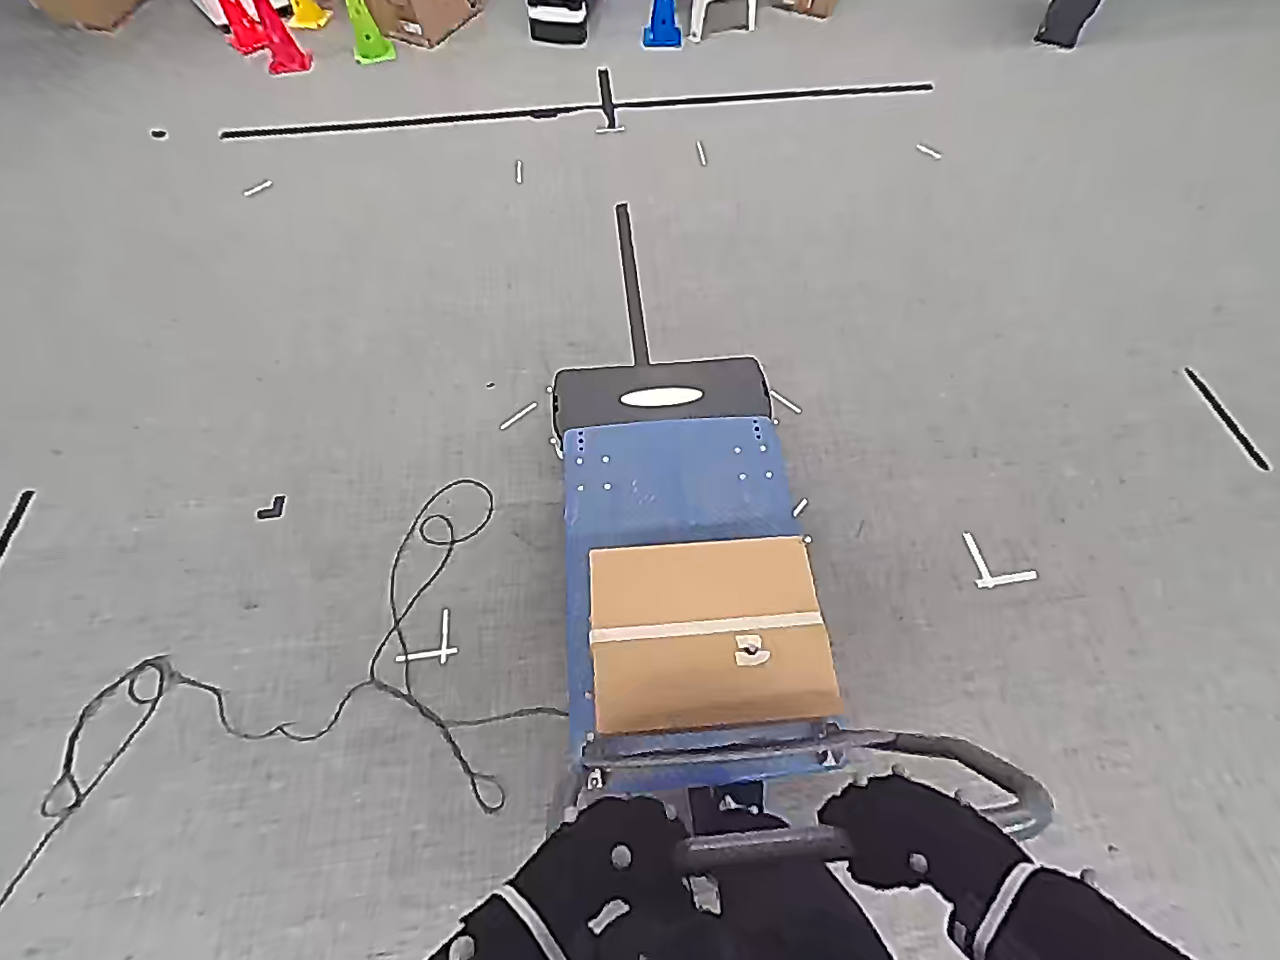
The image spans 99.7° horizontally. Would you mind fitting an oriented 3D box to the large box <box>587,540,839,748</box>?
[{"bbox_3d":[0.111,0.333,1.066,0.408,0.320,0.320,-4,63,-3],"label":"large box"}]
